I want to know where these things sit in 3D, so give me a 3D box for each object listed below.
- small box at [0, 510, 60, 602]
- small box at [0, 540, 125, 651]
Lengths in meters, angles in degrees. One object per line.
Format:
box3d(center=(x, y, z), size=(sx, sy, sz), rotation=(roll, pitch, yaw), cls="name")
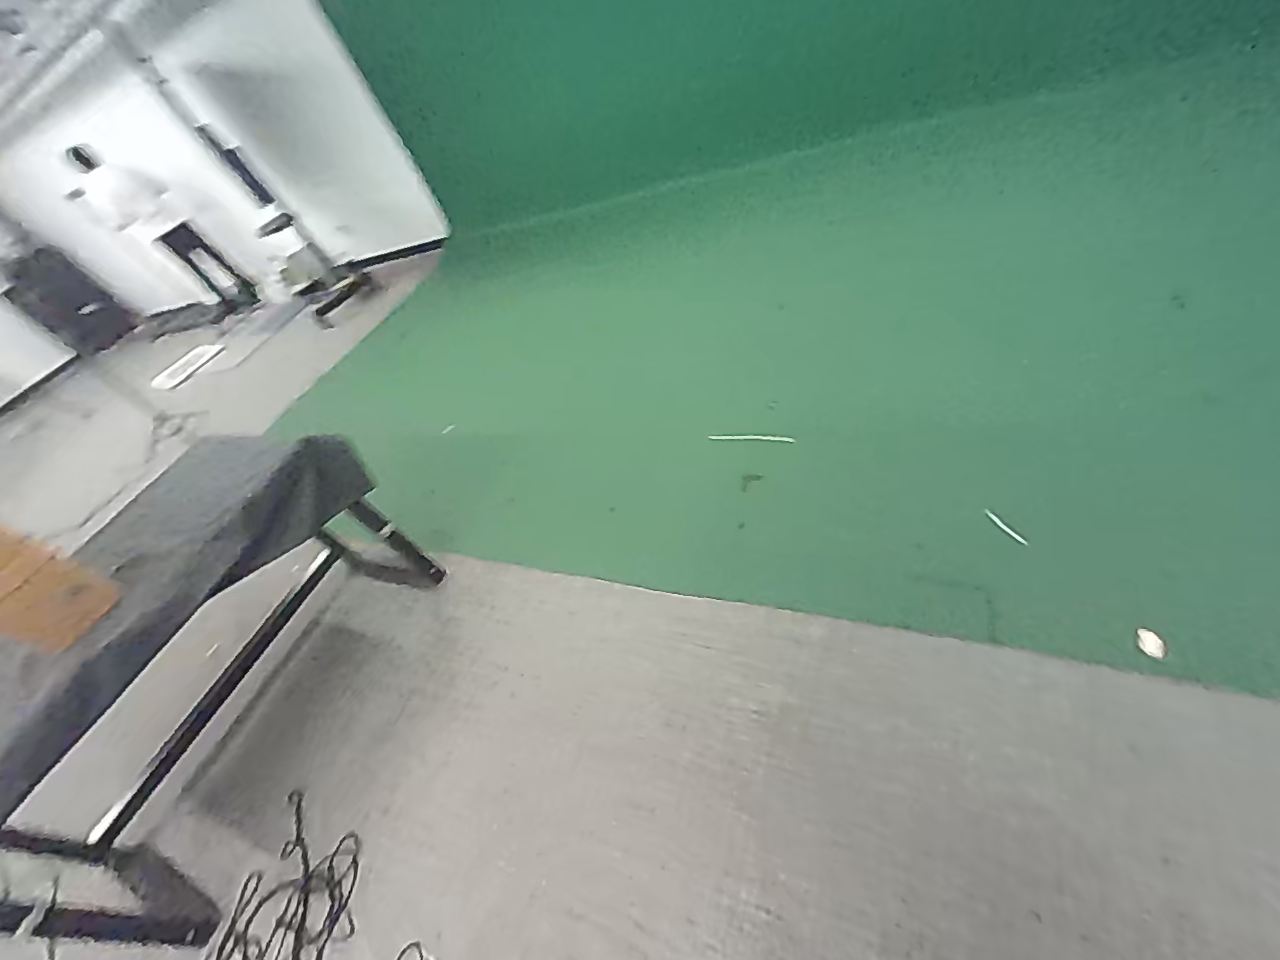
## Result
box3d(center=(-1.450, 0.167, 1.184), size=(0.168, 0.176, 0.179), rotation=(11, 54, 36), cls="small box")
box3d(center=(-1.388, 0.273, 1.290), size=(0.168, 0.176, 0.179), rotation=(11, 56, 36), cls="small box")
